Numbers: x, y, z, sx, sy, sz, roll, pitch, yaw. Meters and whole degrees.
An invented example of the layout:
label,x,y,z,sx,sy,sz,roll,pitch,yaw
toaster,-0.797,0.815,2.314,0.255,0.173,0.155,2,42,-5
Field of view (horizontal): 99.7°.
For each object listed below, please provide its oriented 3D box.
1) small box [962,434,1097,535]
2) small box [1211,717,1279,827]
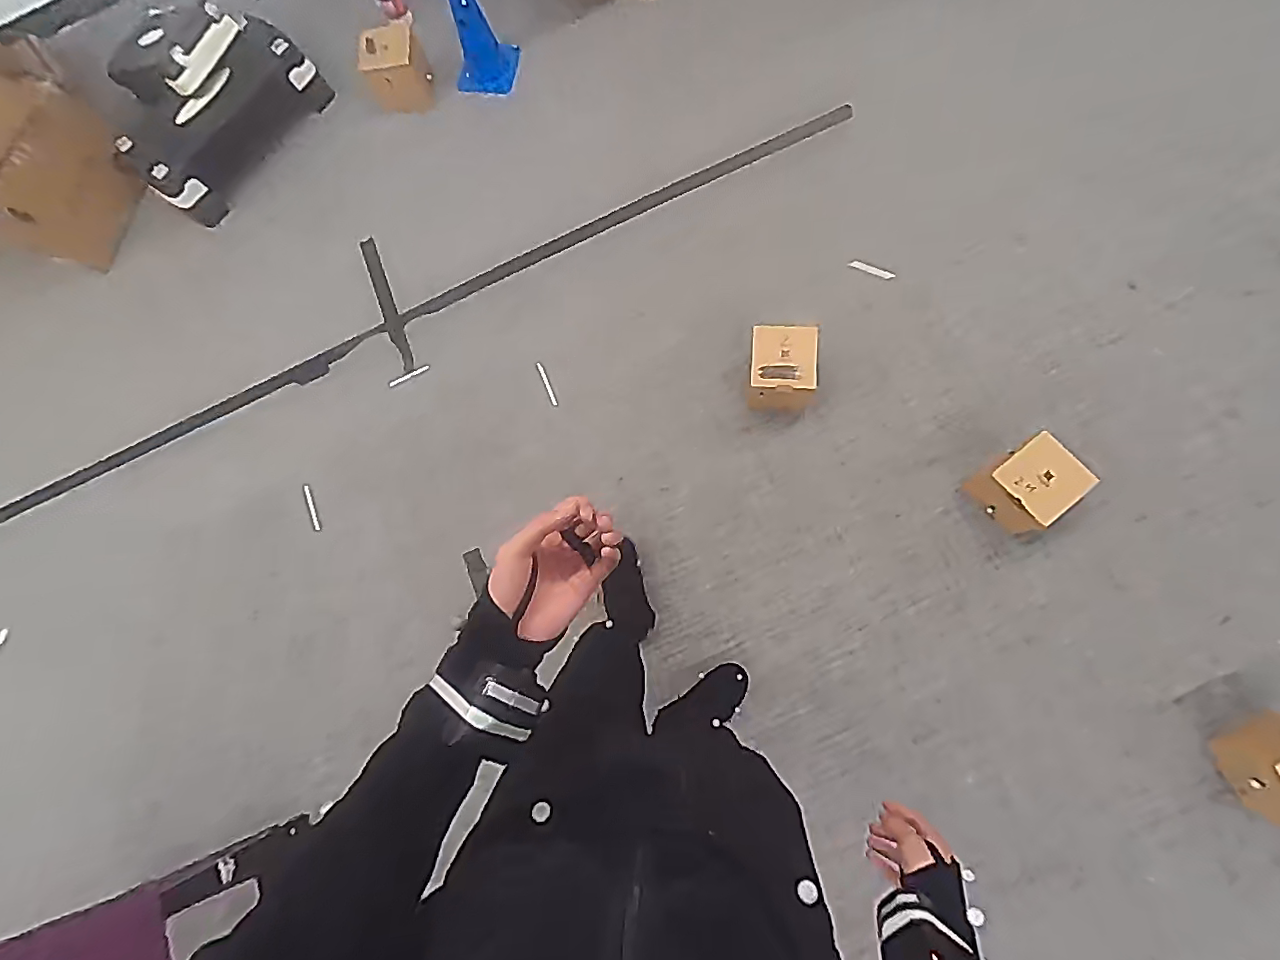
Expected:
label,x,y,z,sx,sy,sz,roll,pitch,yaw
small box,0.952,0.017,1.341,0.179,0.176,0.168,-38,76,-2
small box,1.401,0.635,1.155,0.179,0.176,0.168,-26,76,0
